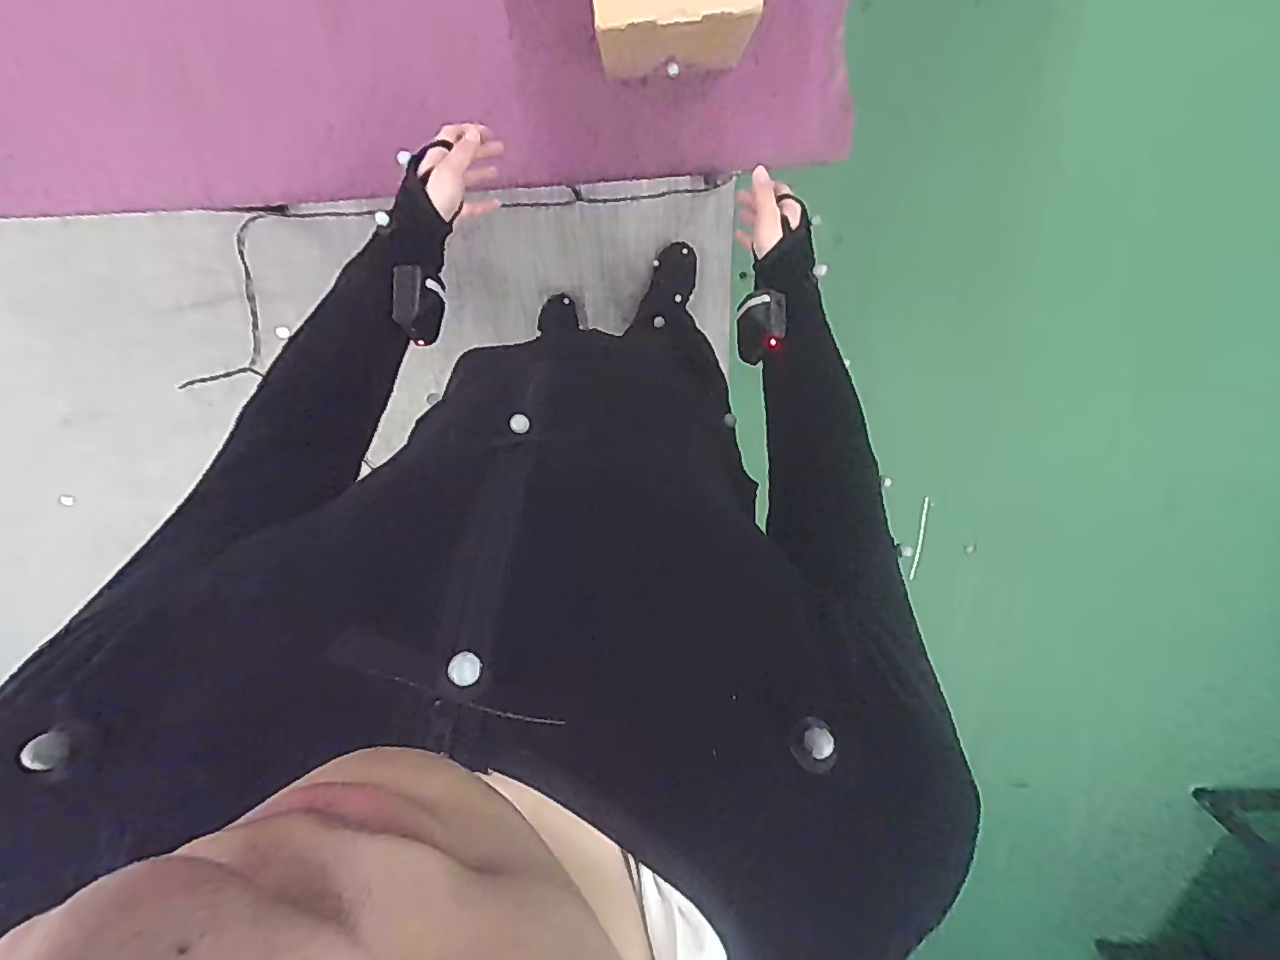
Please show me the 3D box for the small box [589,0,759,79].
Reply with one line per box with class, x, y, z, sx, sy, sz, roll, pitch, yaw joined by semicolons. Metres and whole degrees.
small box;0.028;-0.557;0.565;0.168;0.176;0.179;-4;110;2
